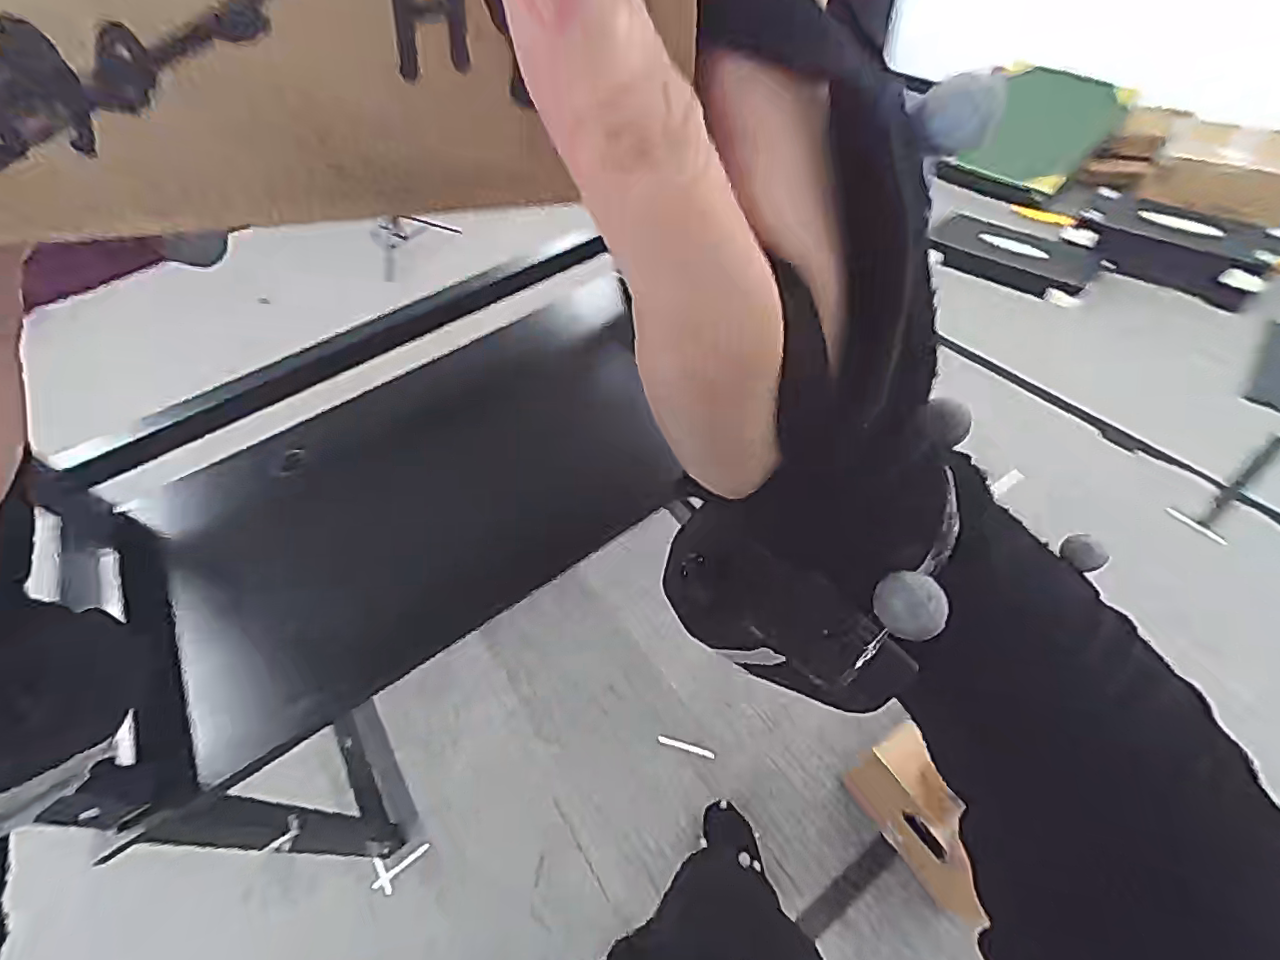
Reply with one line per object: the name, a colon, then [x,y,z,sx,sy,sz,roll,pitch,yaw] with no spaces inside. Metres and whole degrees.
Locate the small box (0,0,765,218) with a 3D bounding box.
small box: [-0.069,-0.165,0.083,0.168,0.179,0.176,-3,49,0]

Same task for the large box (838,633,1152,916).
large box: [0.690,0.601,1.117,0.408,0.320,0.320,-29,57,-16]
